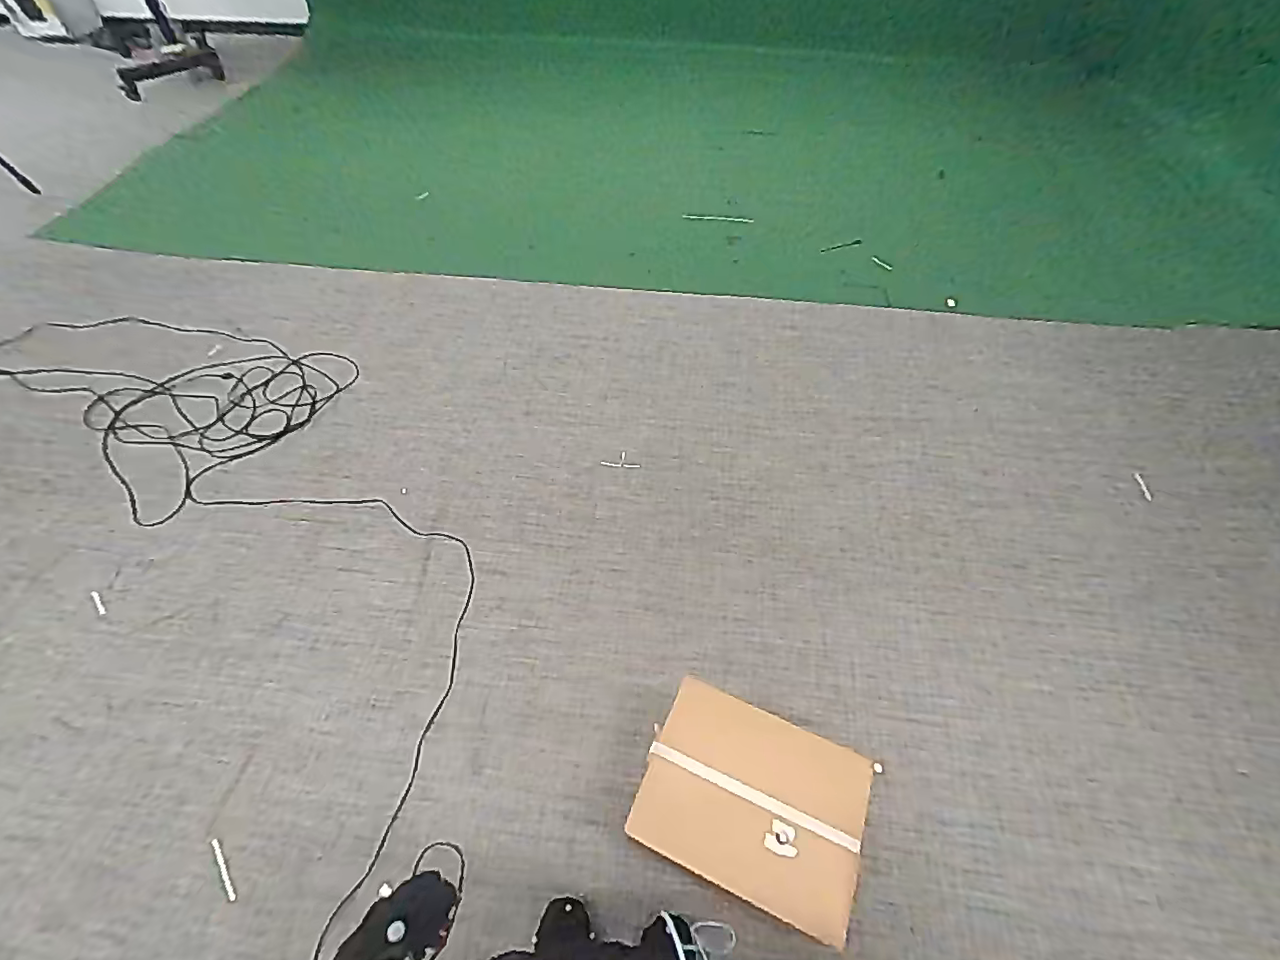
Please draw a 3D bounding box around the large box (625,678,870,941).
[{"bbox_3d":[0.208,0.683,1.145,0.408,0.320,0.320,21,56,13],"label":"large box"}]
